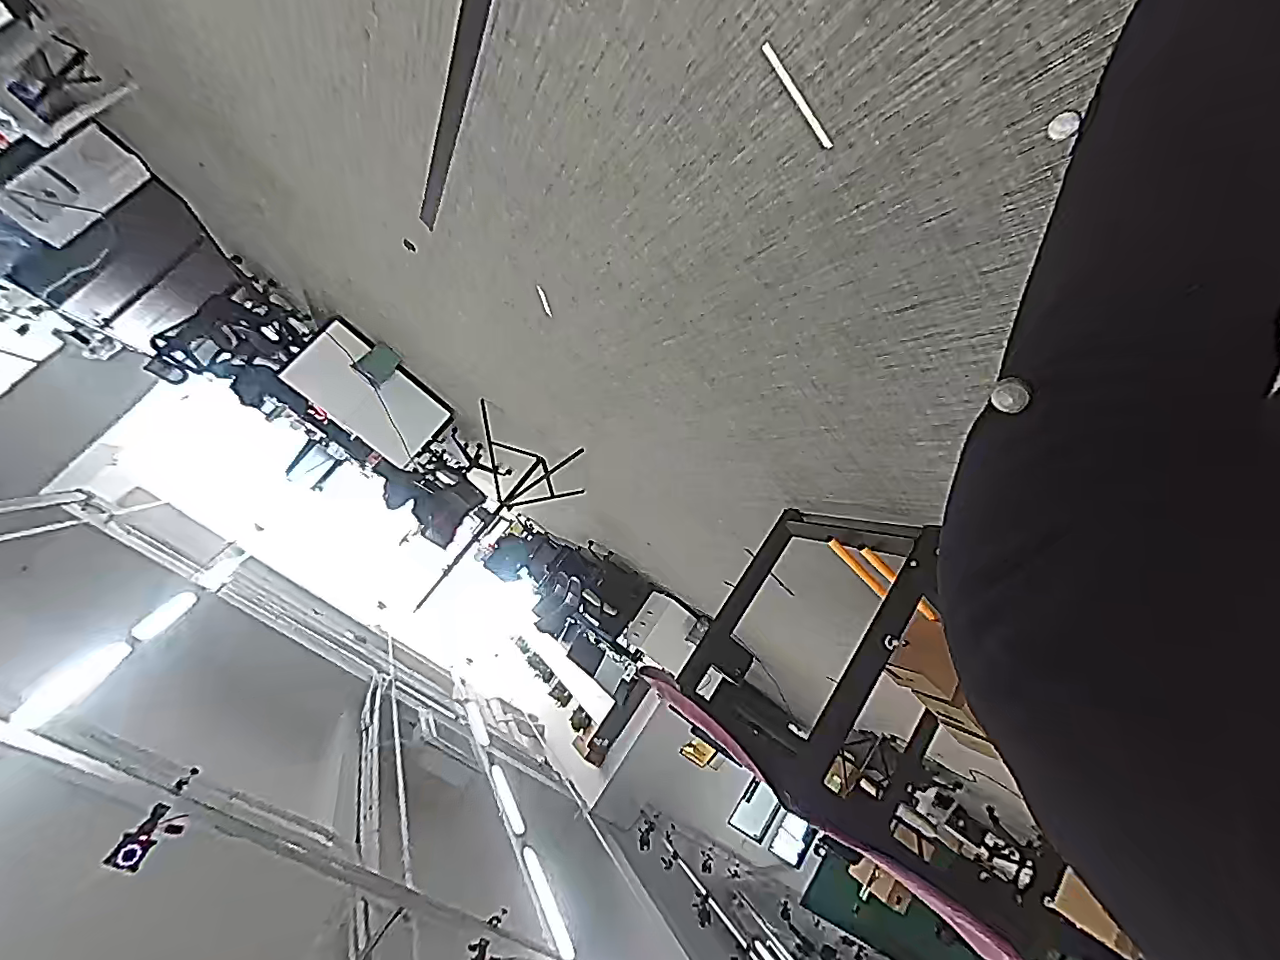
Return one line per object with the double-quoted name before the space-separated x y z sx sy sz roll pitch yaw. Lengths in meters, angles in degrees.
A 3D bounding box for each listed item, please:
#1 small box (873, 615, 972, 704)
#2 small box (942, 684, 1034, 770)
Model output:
"small box" 0.839 0.523 1.604 0.168 0.176 0.179 41 161 -20
"small box" 1.132 0.792 1.757 0.168 0.176 0.179 43 161 -21
